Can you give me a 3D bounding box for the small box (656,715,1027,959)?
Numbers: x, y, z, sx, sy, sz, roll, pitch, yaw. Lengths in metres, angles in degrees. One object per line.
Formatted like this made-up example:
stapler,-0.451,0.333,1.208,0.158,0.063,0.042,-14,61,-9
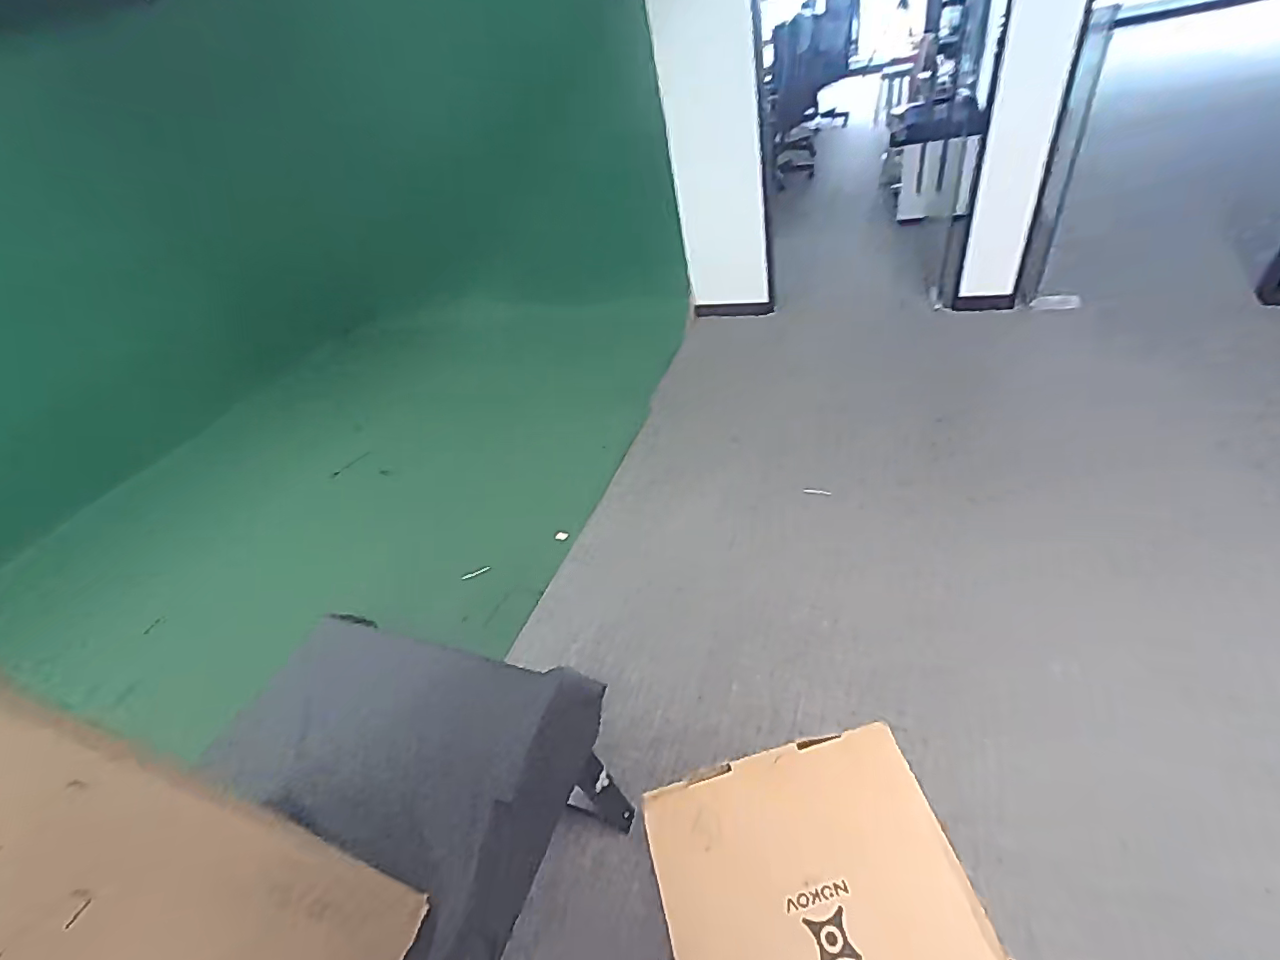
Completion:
small box,0.113,0.284,0.350,0.168,0.176,0.179,-15,53,-6
